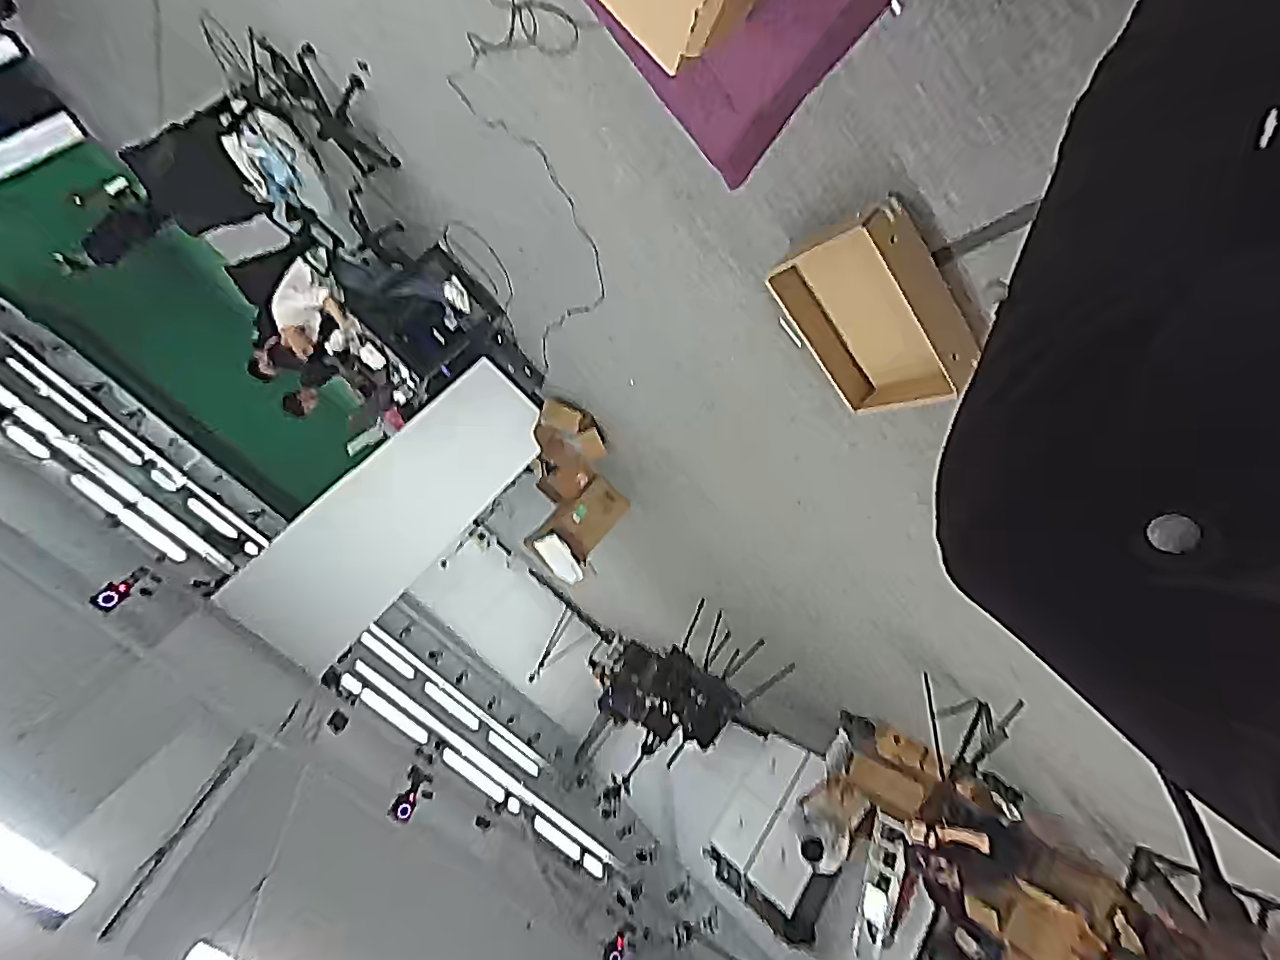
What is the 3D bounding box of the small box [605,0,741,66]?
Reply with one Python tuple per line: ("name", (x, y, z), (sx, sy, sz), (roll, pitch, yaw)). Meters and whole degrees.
("small box", (0.053, -0.668, 0.649), (0.179, 0.176, 0.168), (43, 158, -7))
